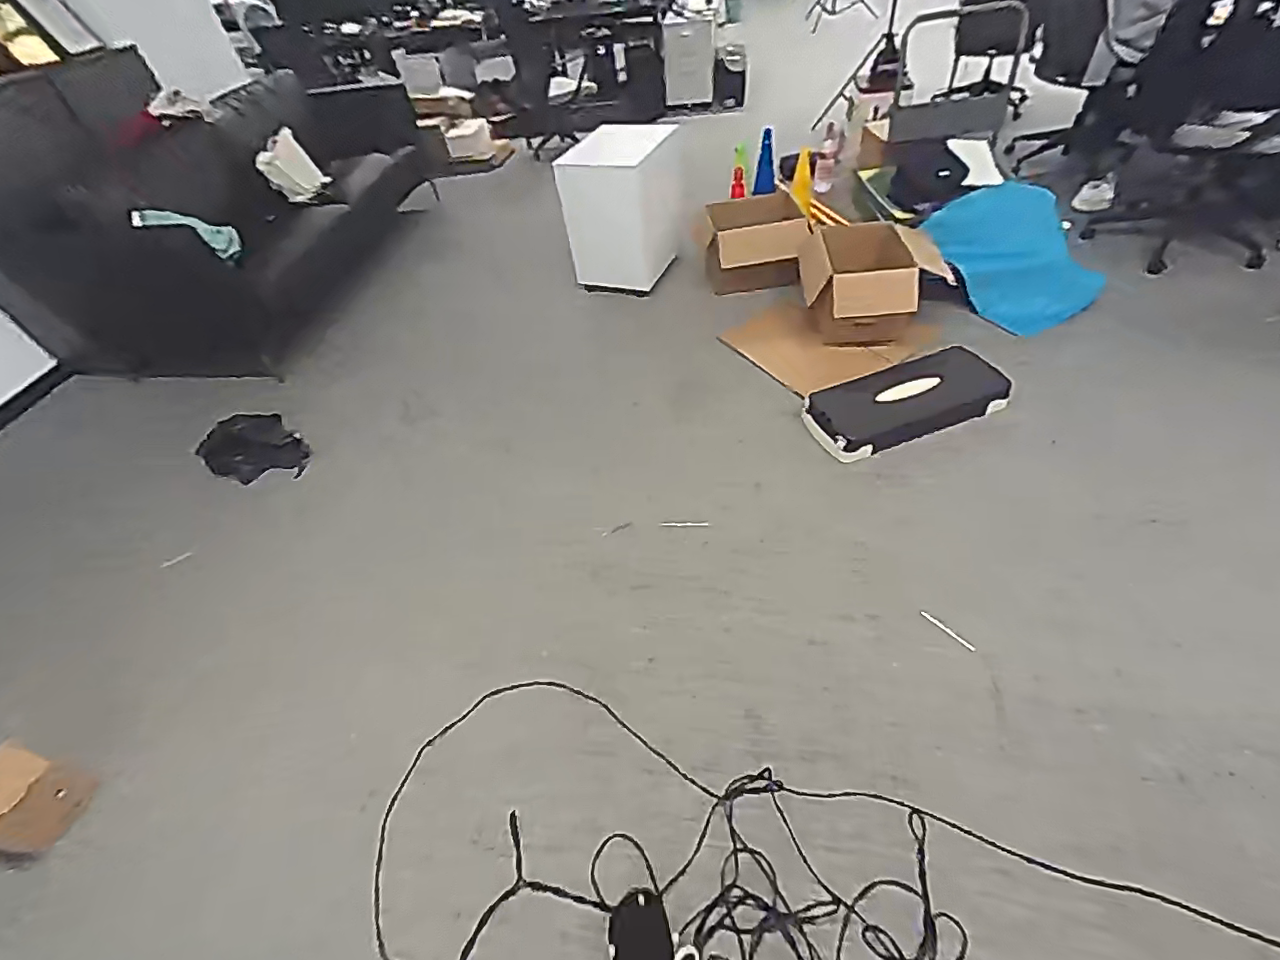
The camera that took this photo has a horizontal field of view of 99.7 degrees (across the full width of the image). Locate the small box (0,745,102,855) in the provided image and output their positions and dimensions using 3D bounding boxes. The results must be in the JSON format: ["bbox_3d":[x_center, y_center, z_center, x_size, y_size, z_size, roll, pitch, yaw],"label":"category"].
[{"bbox_3d":[-1.449,0.755,1.271,0.179,0.176,0.168,8,48,17],"label":"small box"}]
